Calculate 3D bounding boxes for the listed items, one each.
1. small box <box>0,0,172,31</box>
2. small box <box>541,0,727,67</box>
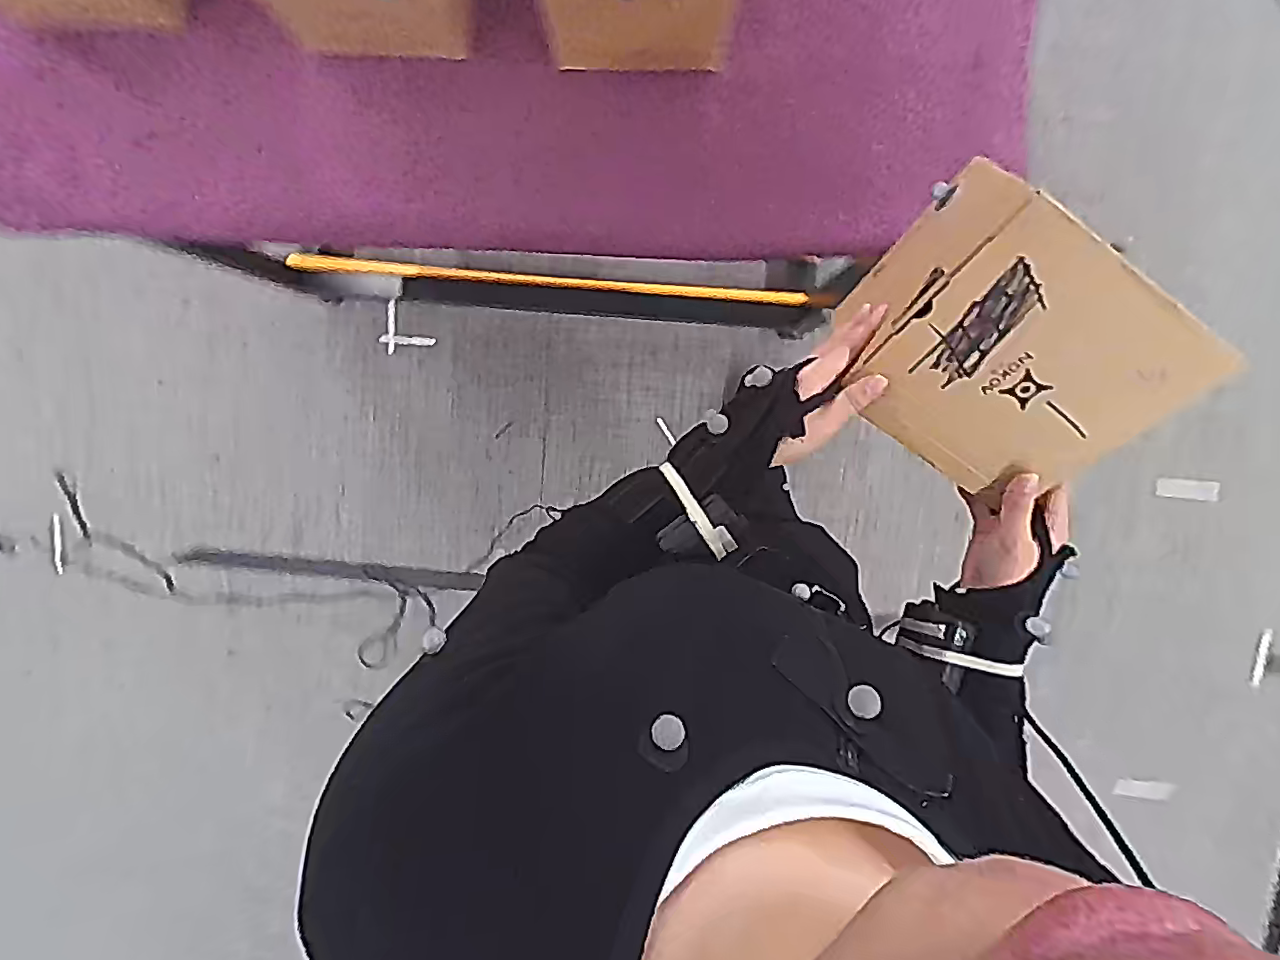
[{"bbox_3d":[-0.571,-0.552,0.490,0.179,0.176,0.168,1,96,-1],"label":"small box"},{"bbox_3d":[-0.003,-0.511,0.487,0.179,0.176,0.168,1,97,2],"label":"small box"}]
